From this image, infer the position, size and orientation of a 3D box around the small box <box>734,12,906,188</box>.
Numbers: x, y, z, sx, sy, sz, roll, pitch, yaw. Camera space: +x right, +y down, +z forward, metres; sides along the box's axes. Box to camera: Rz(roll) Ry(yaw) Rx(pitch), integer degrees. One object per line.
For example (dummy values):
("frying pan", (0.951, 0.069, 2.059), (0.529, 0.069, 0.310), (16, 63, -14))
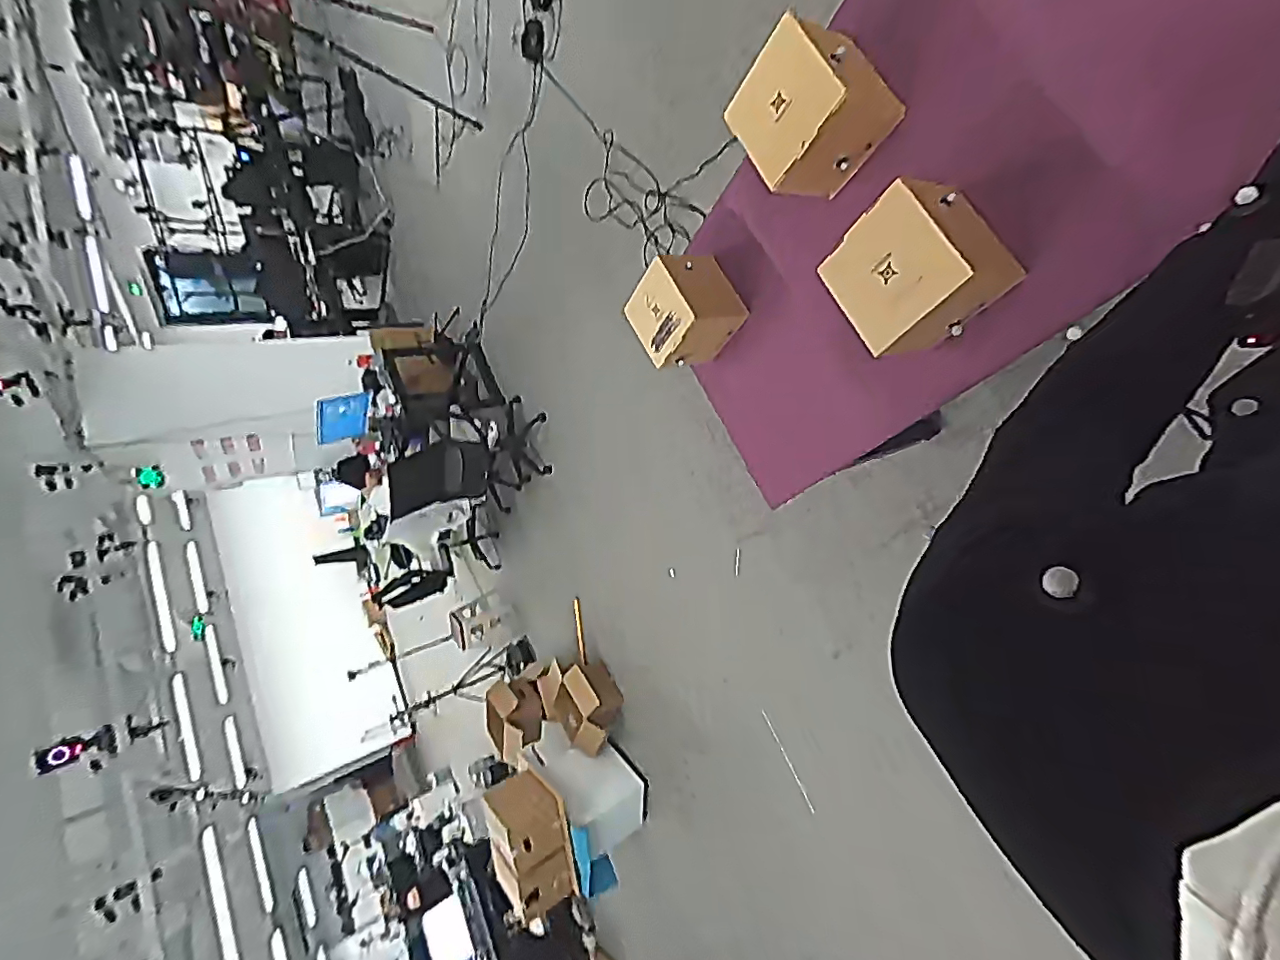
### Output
("small box", (0.297, -0.613, 0.899), (0.168, 0.176, 0.179), (-44, 68, 52))

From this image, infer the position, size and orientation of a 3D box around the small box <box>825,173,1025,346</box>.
("small box", (0.427, -0.324, 0.820), (0.168, 0.176, 0.179), (-48, 62, 52))
